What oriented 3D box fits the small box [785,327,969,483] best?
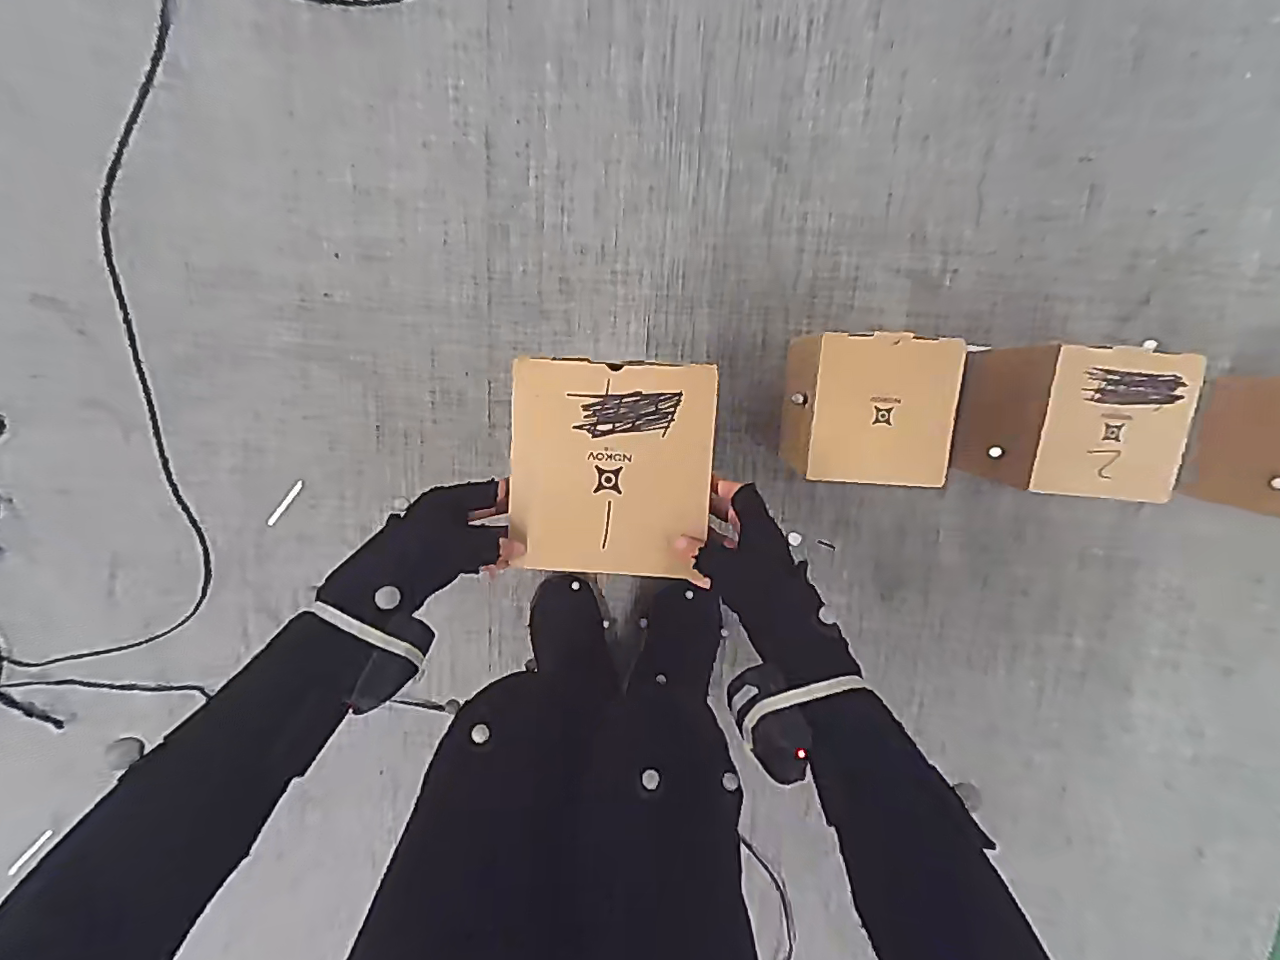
[{"bbox_3d":[0.292,-0.101,0.708,0.168,0.176,0.179,3,100,3],"label":"small box"}]

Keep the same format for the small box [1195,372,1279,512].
[{"bbox_3d":[0.879,-0.044,0.687,0.168,0.176,0.179,3,101,2],"label":"small box"}]

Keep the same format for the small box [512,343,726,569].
[{"bbox_3d":[-0.018,-0.026,0.517,0.168,0.176,0.179,4,97,1],"label":"small box"}]
